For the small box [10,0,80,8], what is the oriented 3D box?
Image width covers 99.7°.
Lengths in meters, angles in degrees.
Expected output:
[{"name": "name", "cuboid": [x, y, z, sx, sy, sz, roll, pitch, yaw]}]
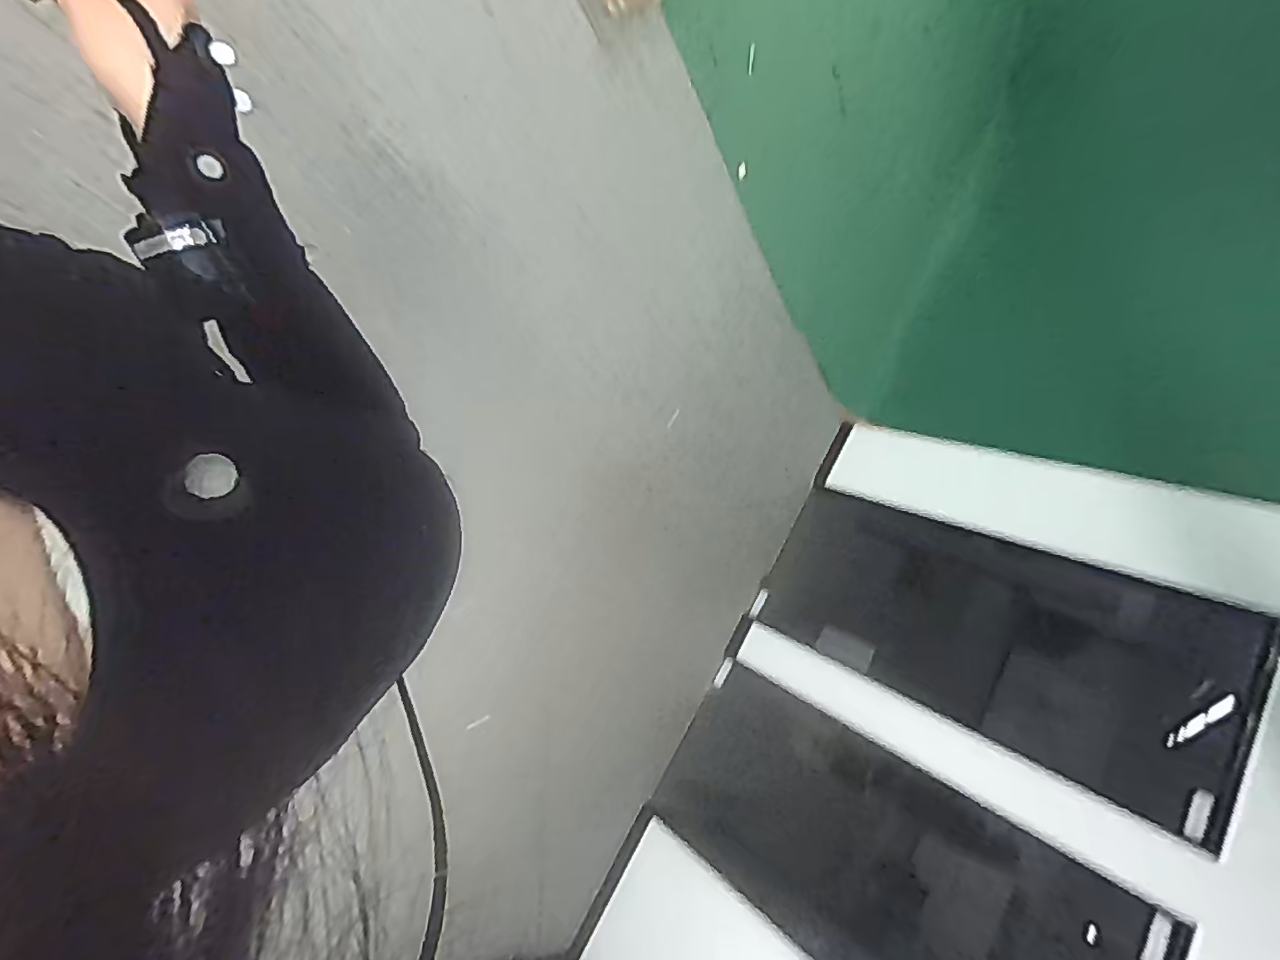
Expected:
[{"name": "small box", "cuboid": [-0.409, -0.396, 0.278, 0.168, 0.176, 0.179, -1, 115, -53]}]
